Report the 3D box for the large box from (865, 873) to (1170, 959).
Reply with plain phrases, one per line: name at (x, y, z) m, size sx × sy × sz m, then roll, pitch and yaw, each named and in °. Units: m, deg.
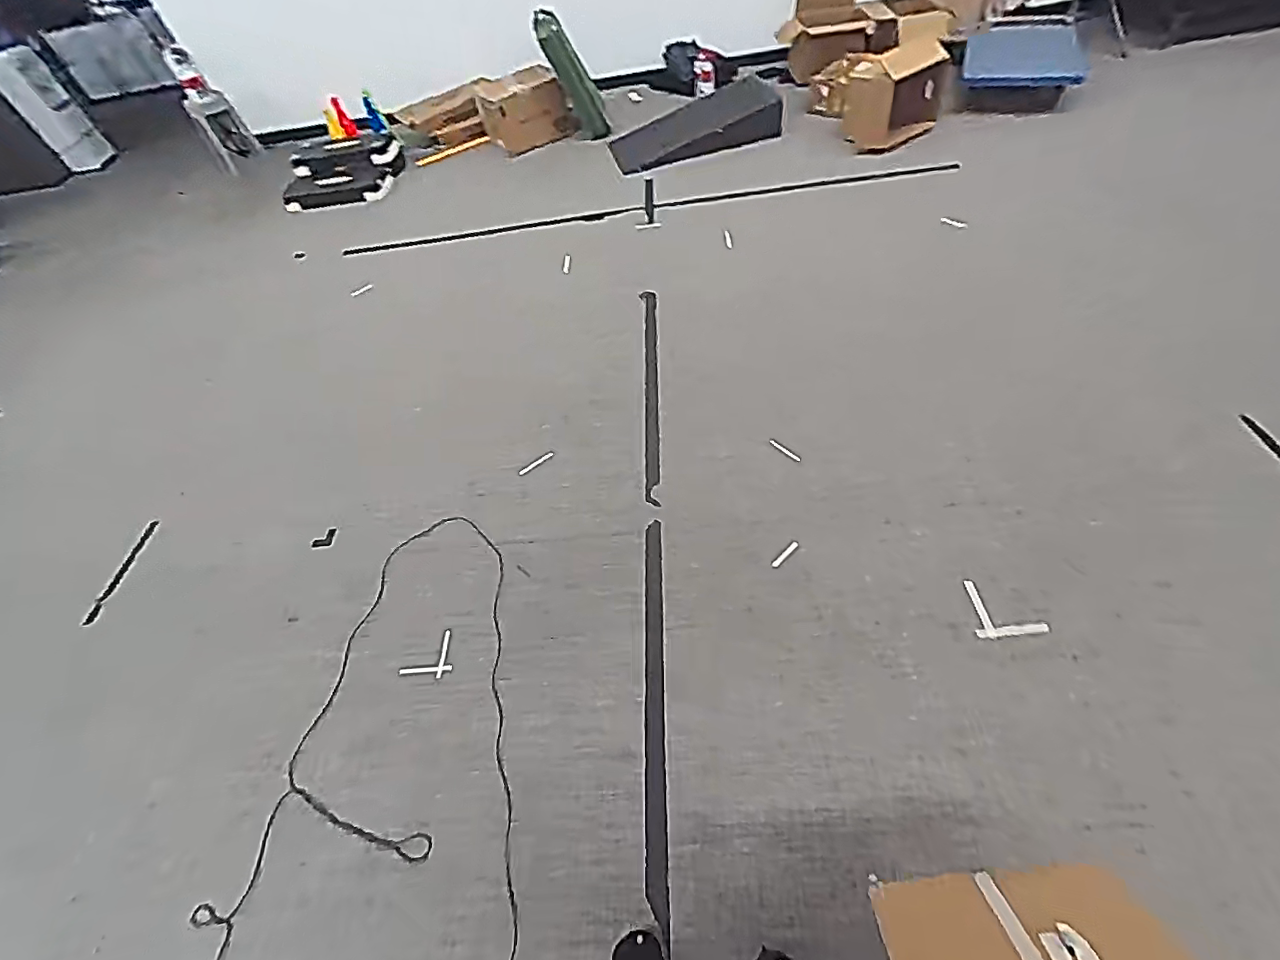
large box at (0.481, 0.722, 0.571) m, size 0.320 × 0.408 × 0.320 m, roll -13°, pitch 86°, yaw 9°
